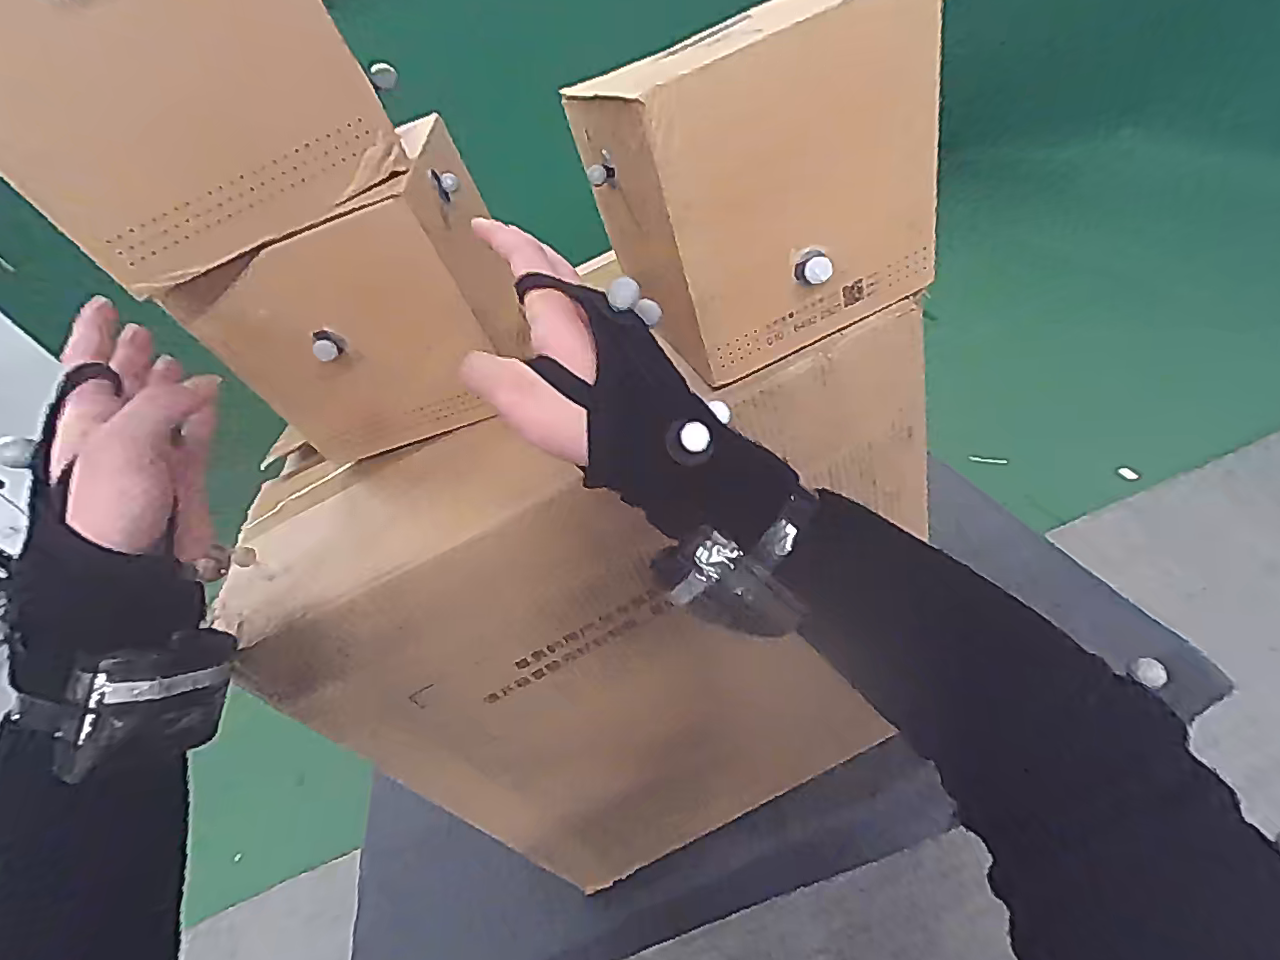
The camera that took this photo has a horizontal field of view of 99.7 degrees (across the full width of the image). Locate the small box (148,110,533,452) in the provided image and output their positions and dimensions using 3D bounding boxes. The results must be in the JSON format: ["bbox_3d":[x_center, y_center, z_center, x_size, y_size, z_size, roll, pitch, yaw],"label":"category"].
[{"bbox_3d":[-0.203,-0.146,0.426,0.179,0.176,0.168,-17,48,9],"label":"small box"}]

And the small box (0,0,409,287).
[{"bbox_3d":[-0.266,-0.241,0.310,0.179,0.176,0.168,-29,48,-5],"label":"small box"}]

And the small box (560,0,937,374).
[{"bbox_3d":[0.066,-0.199,0.366,0.168,0.176,0.179,-26,40,-2],"label":"small box"}]
